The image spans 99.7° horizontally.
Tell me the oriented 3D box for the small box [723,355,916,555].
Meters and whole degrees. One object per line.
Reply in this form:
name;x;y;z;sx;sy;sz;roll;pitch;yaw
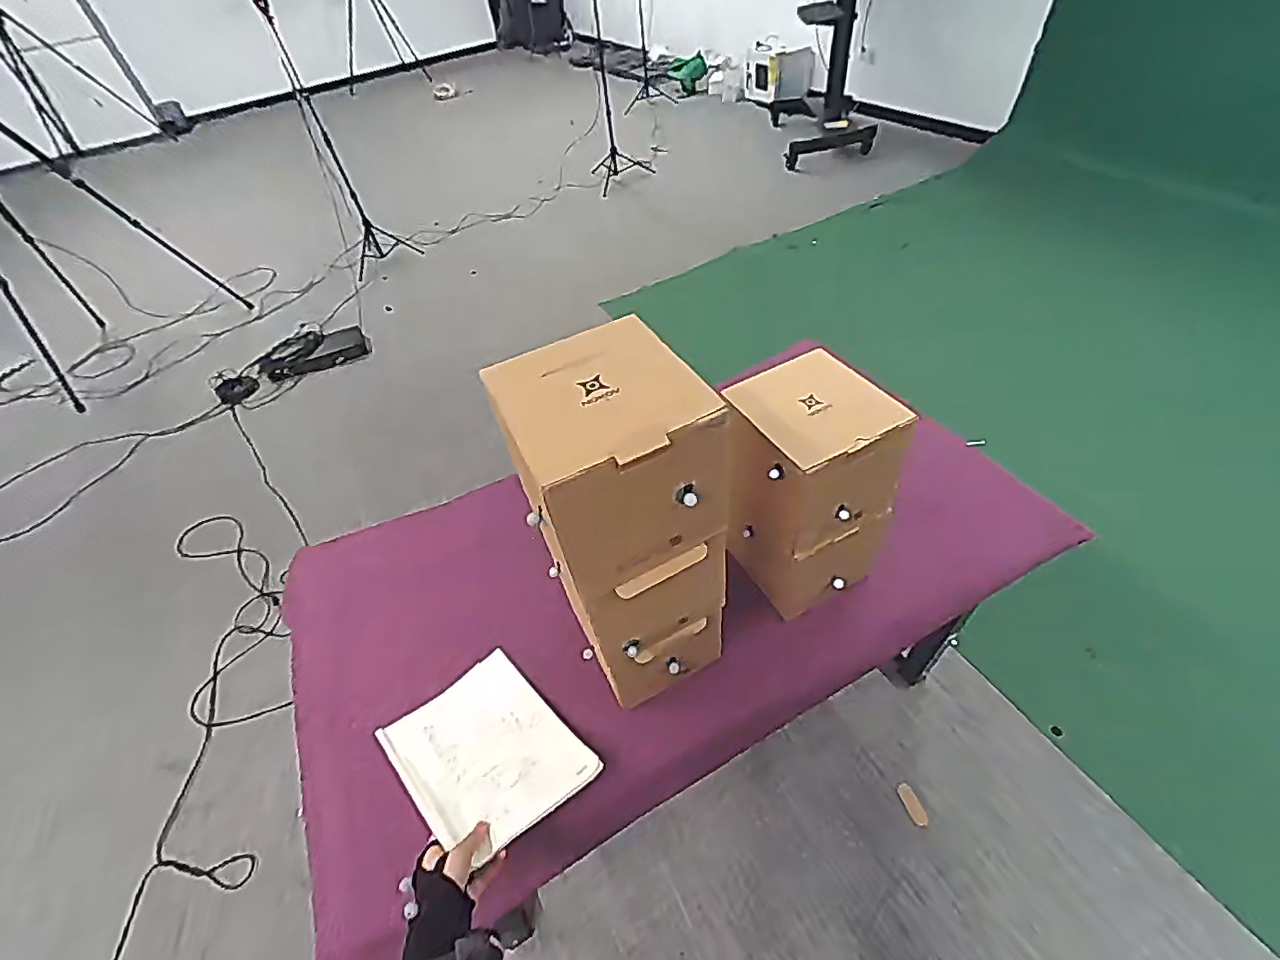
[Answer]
small box;0.223;-0.034;0.726;0.168;0.176;0.179;-24;49;-14

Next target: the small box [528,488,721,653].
small box;-0.013;0.084;0.655;0.168;0.176;0.179;-25;48;-14

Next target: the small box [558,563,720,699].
small box;0.003;0.190;0.780;0.168;0.176;0.179;-25;50;-14

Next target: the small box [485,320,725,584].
small box;-0.028;-0.022;0.531;0.168;0.176;0.179;-24;49;-14
